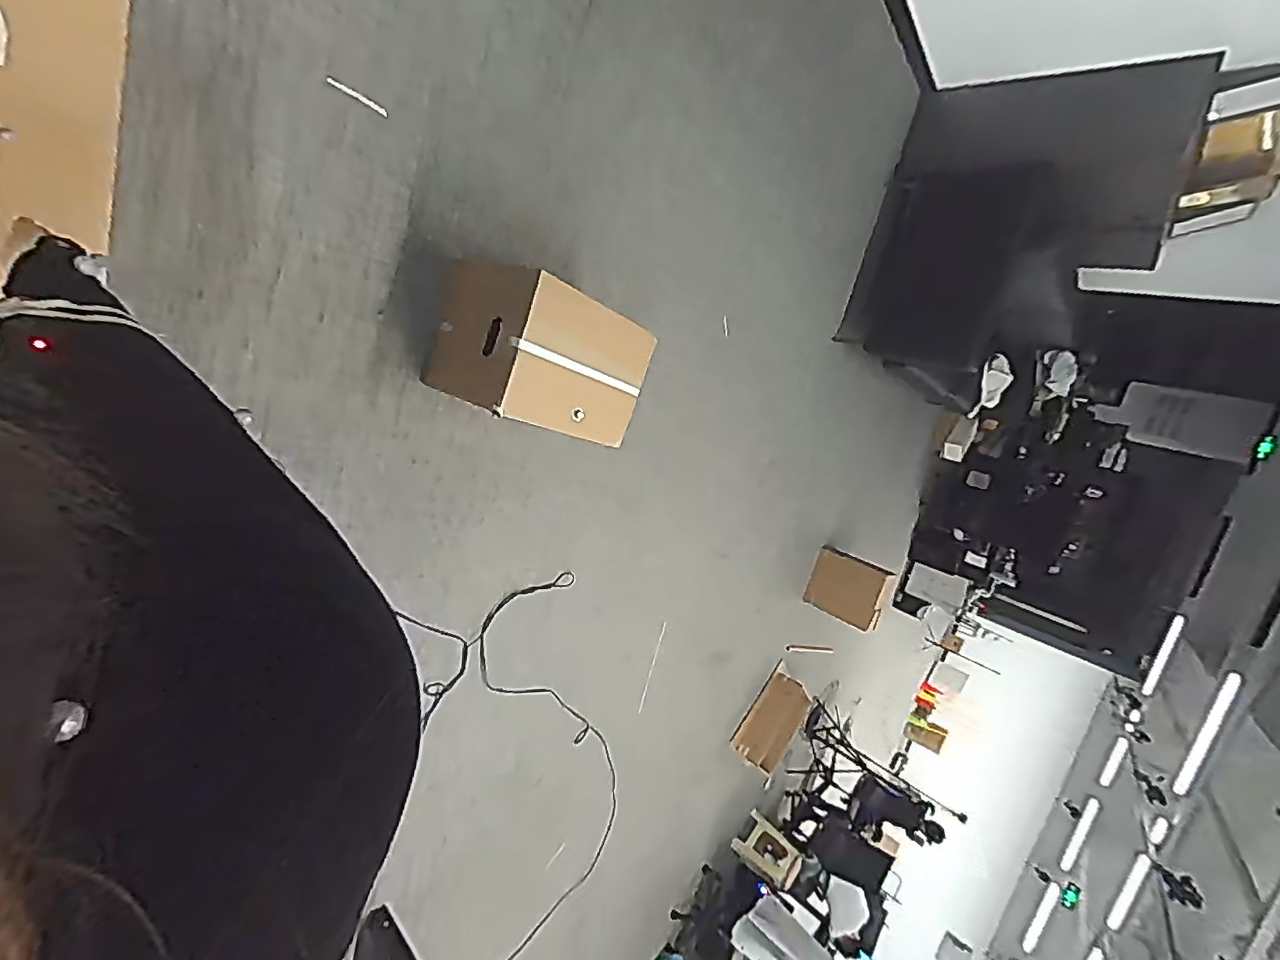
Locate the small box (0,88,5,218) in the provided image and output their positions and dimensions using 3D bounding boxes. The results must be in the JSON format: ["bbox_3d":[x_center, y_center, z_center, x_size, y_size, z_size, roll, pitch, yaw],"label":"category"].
[{"bbox_3d":[-0.672,-0.290,0.454,0.179,0.176,0.168,2,105,-48],"label":"small box"}]

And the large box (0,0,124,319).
[{"bbox_3d":[-0.821,-0.429,0.608,0.320,0.320,0.408,3,104,-50],"label":"large box"}]
